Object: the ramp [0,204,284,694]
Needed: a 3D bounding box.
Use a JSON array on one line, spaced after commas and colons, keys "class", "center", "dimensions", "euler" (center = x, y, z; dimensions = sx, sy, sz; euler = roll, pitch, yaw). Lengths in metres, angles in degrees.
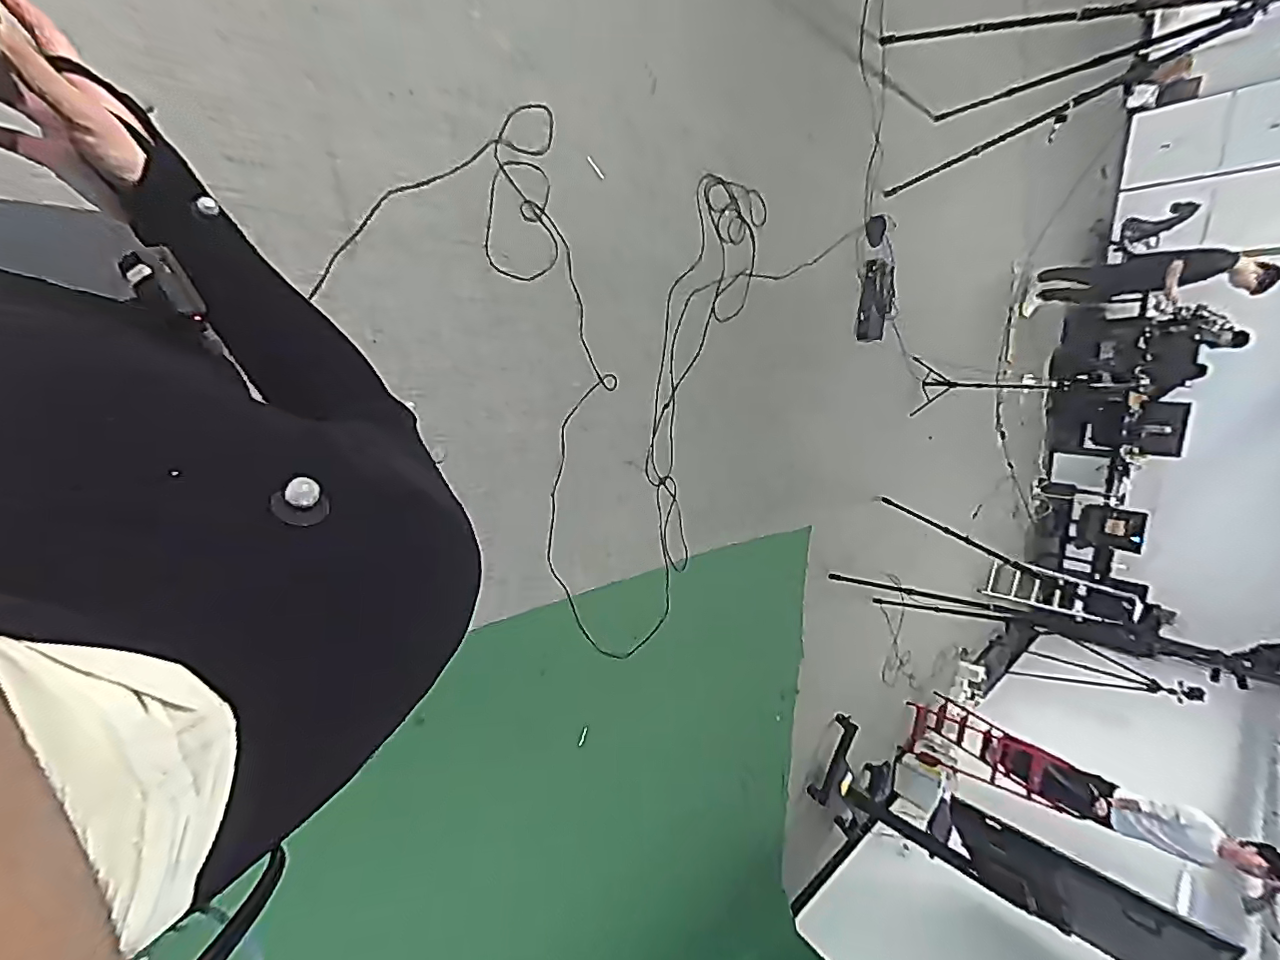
[{"class": "ramp", "center": [-1.173, -0.089, 1.211], "dimensions": [0.509, 0.206, 0.991], "euler": [-13, 107, -38]}]
